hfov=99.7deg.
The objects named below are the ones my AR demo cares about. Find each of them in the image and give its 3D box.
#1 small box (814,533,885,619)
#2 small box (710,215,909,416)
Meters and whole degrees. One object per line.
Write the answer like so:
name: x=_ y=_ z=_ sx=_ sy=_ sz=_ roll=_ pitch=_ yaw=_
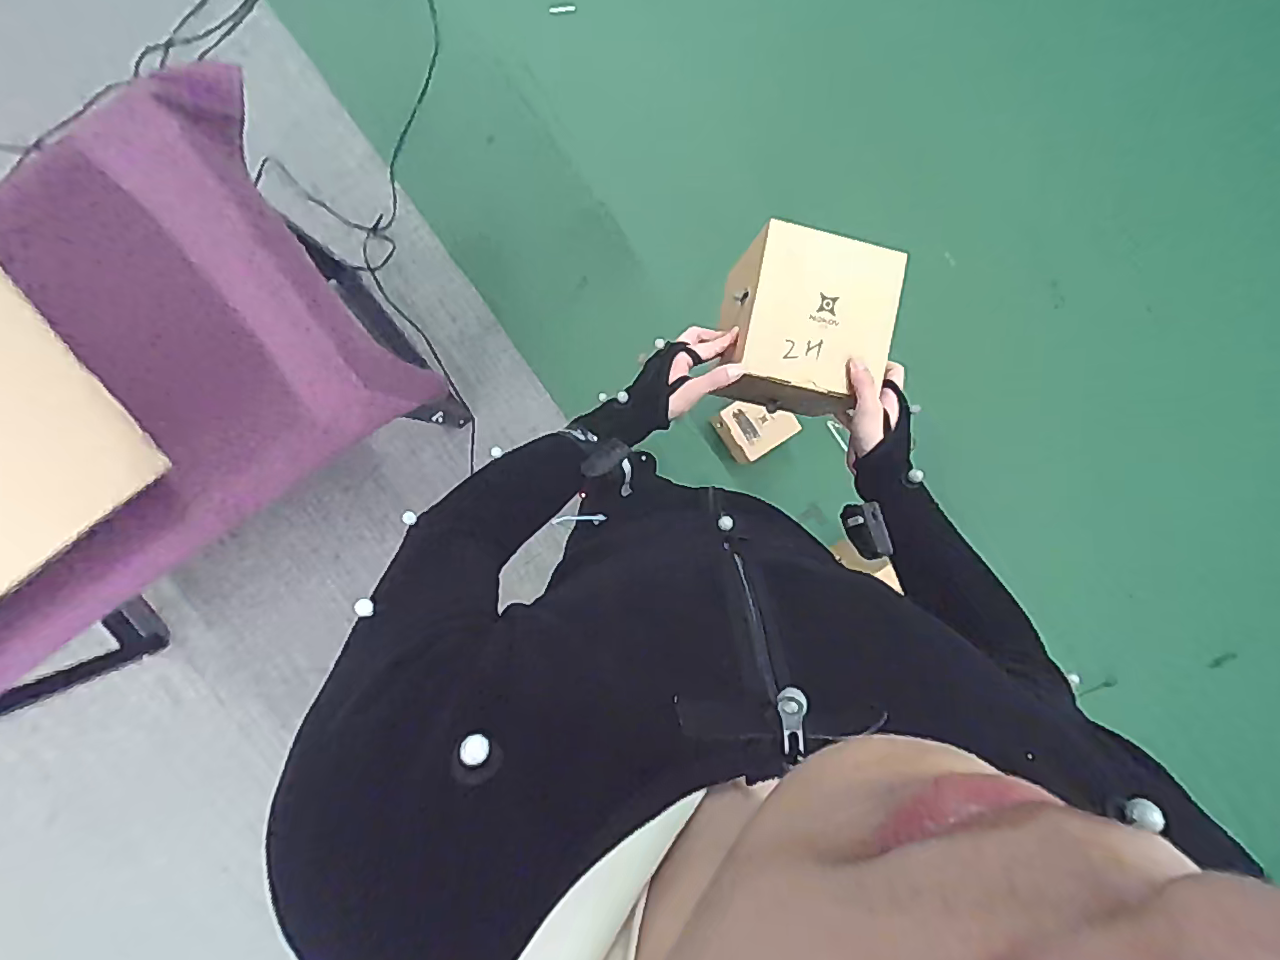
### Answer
small box: x=0.648 y=0.273 z=1.588 sx=0.179 sy=0.176 sz=0.168 roll=-34 pitch=93 yaw=0
small box: x=0.195 y=-0.188 z=0.671 sx=0.168 sy=0.176 sz=0.179 roll=12 pitch=90 yaw=-6
